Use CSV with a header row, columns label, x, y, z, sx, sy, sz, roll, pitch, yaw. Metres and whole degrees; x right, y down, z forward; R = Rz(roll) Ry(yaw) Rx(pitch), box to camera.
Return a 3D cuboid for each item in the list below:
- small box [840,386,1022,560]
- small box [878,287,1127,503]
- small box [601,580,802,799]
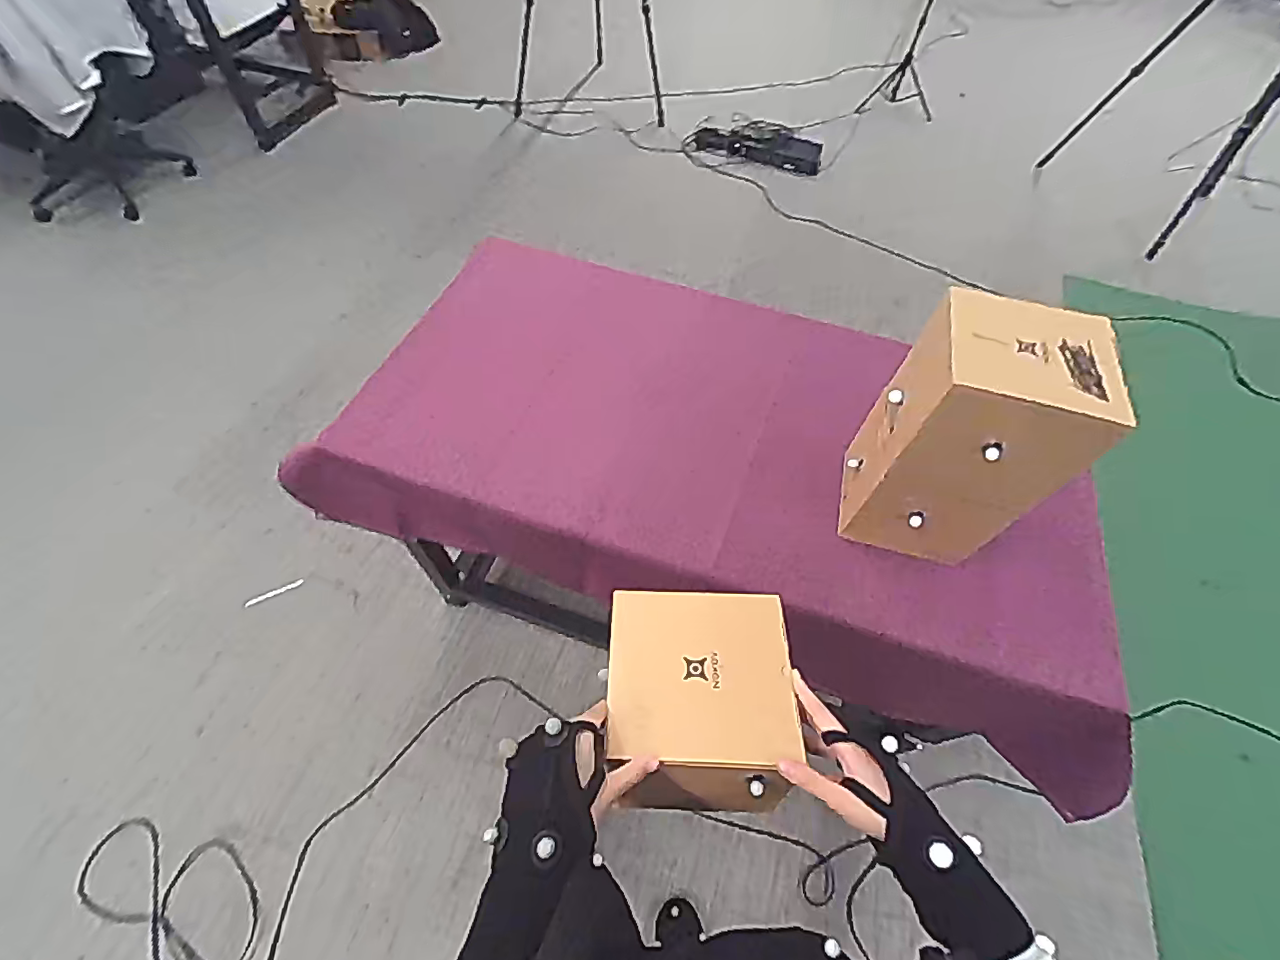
label,x,y,z,sx,sy,sz,roll,pitch,yaw
small box,0.404,-0.005,0.780,0.179,0.176,0.168,14,57,8
small box,0.408,-0.094,0.641,0.179,0.176,0.168,15,56,8
small box,0.056,0.224,0.573,0.179,0.176,0.168,2,46,1
